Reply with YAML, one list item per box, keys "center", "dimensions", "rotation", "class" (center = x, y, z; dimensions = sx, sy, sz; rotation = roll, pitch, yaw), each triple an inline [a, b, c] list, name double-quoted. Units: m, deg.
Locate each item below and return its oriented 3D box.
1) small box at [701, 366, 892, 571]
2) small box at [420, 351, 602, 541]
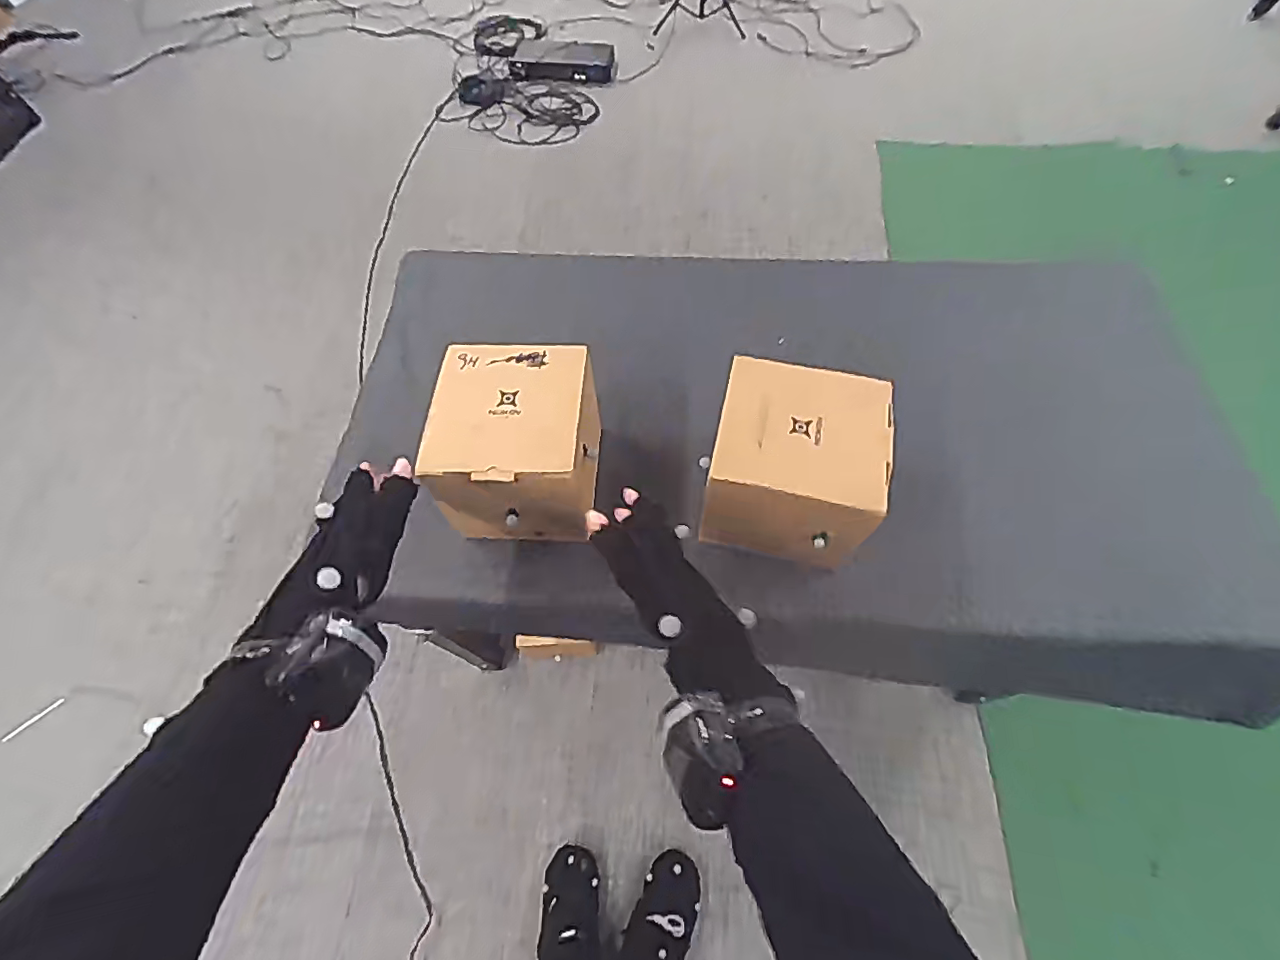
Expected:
- center: [0.175, -0.005, 0.638]
  dimensions: [0.179, 0.176, 0.168]
  rotation: [11, 62, 9]
  class: "small box"
- center: [-0.139, -0.035, 0.660]
  dimensions: [0.168, 0.176, 0.179]
  rotation: [2, 61, 3]
  class: "small box"
